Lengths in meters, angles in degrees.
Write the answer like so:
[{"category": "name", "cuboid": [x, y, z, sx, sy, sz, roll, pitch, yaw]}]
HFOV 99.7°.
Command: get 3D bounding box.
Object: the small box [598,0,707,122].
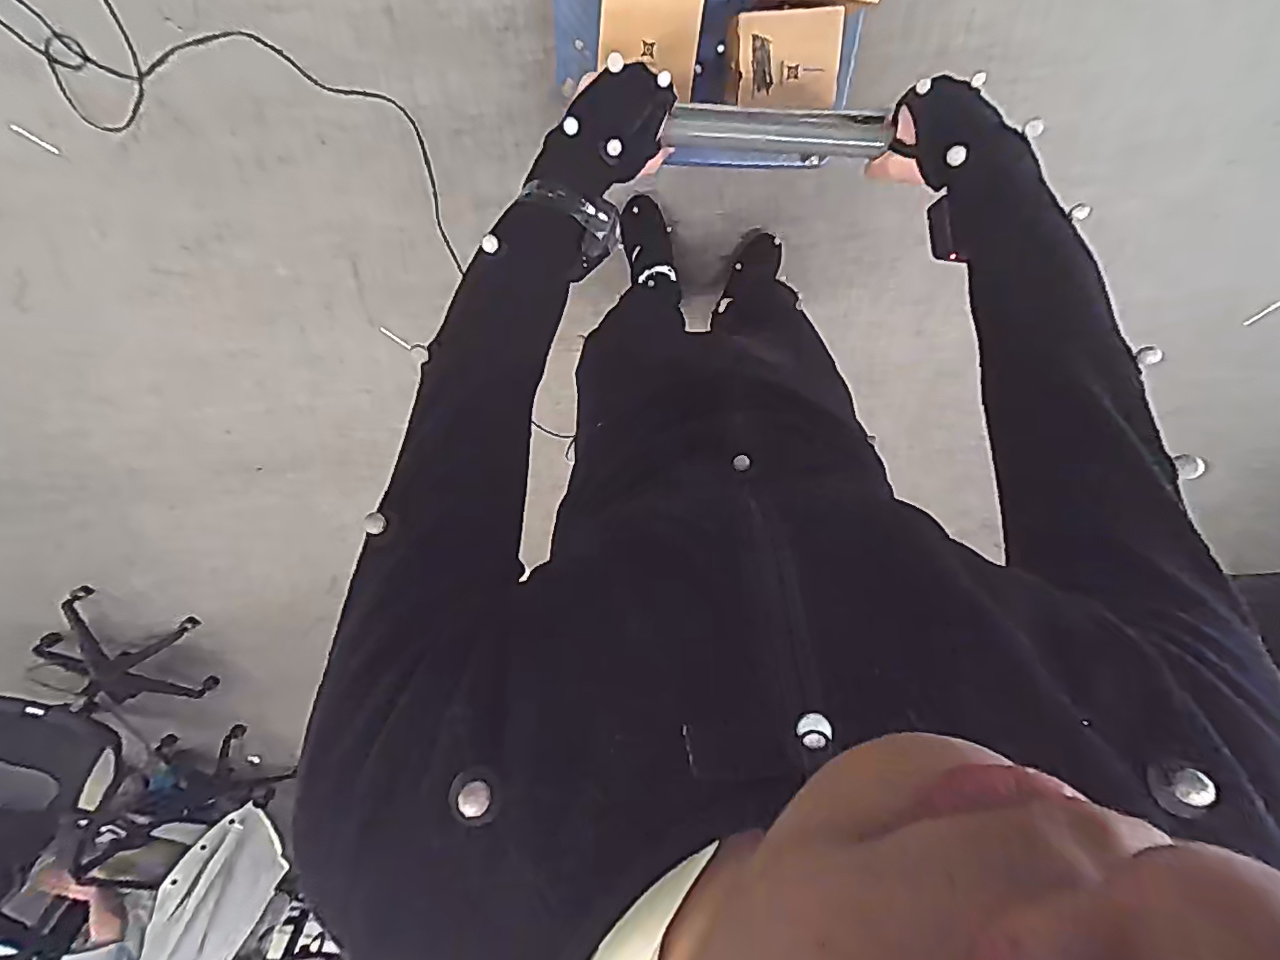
[{"category": "small box", "cuboid": [0.013, -0.758, 0.970, 0.168, 0.176, 0.179, 5, 123, -6]}]
